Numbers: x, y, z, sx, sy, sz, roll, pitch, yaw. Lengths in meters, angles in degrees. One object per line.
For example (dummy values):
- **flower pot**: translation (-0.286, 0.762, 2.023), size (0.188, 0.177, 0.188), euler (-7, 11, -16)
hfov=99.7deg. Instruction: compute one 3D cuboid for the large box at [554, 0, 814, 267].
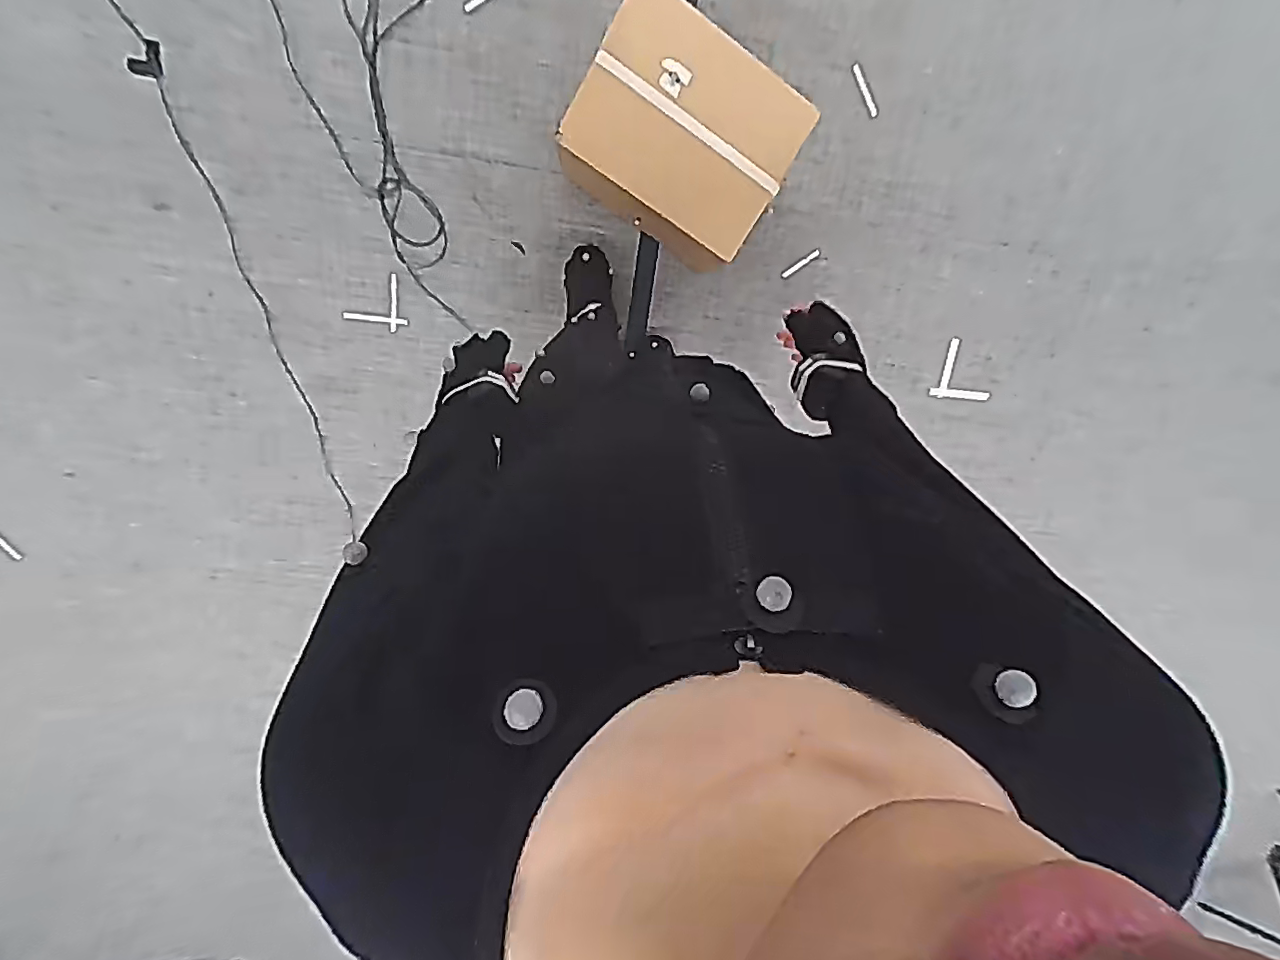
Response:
- **large box**: translation (0.077, -0.705, 1.155), size (0.408, 0.320, 0.320), euler (30, 103, -12)
